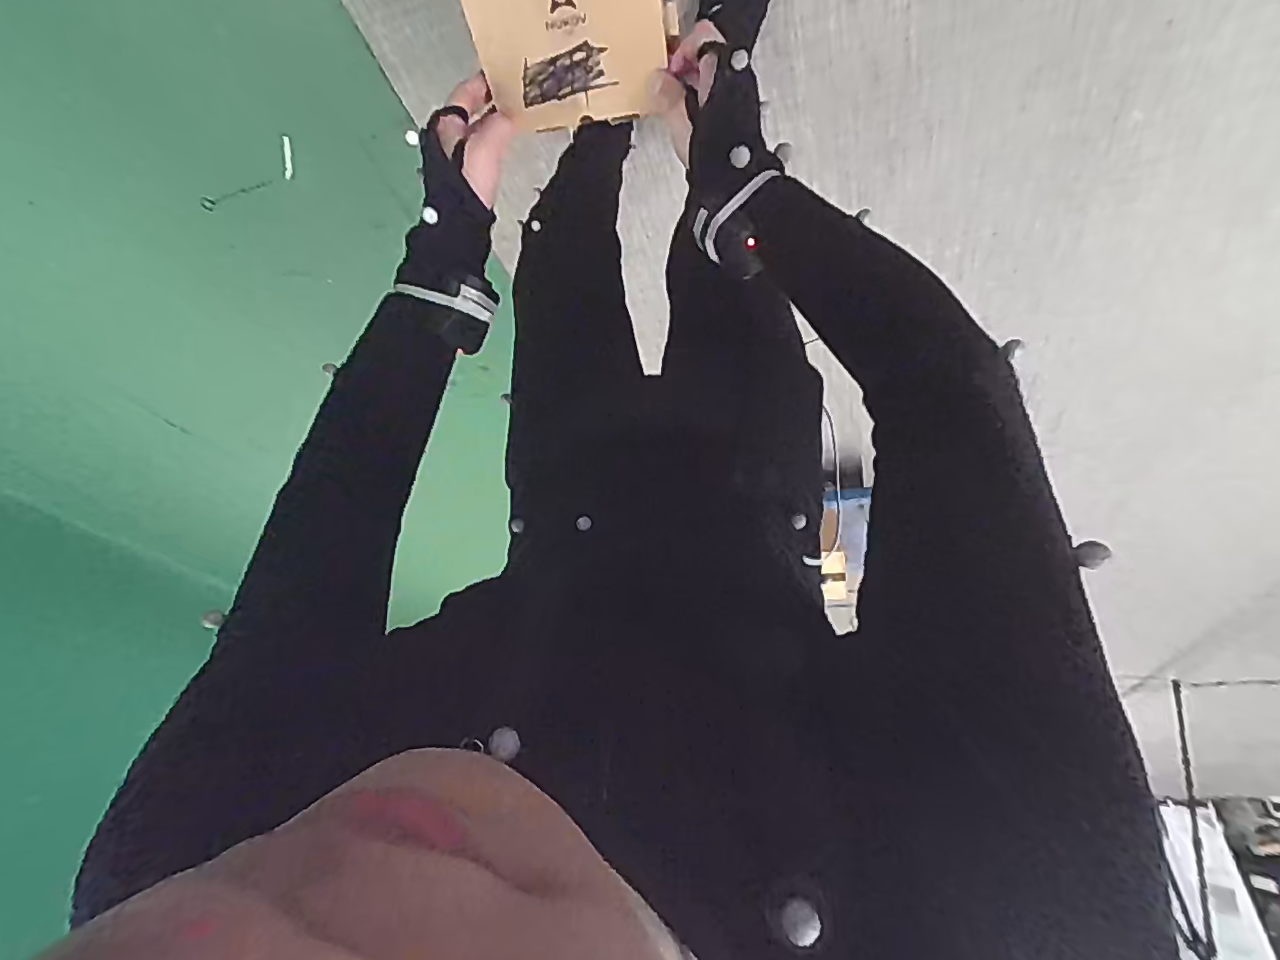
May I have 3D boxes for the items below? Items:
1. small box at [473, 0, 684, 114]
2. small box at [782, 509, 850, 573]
[{"bbox_3d":[-0.052,-0.467,0.485,0.168,0.176,0.179,-1,142,10],"label":"small box"},{"bbox_3d":[0.638,0.223,1.978,0.179,0.176,0.168,10,144,-7],"label":"small box"}]
